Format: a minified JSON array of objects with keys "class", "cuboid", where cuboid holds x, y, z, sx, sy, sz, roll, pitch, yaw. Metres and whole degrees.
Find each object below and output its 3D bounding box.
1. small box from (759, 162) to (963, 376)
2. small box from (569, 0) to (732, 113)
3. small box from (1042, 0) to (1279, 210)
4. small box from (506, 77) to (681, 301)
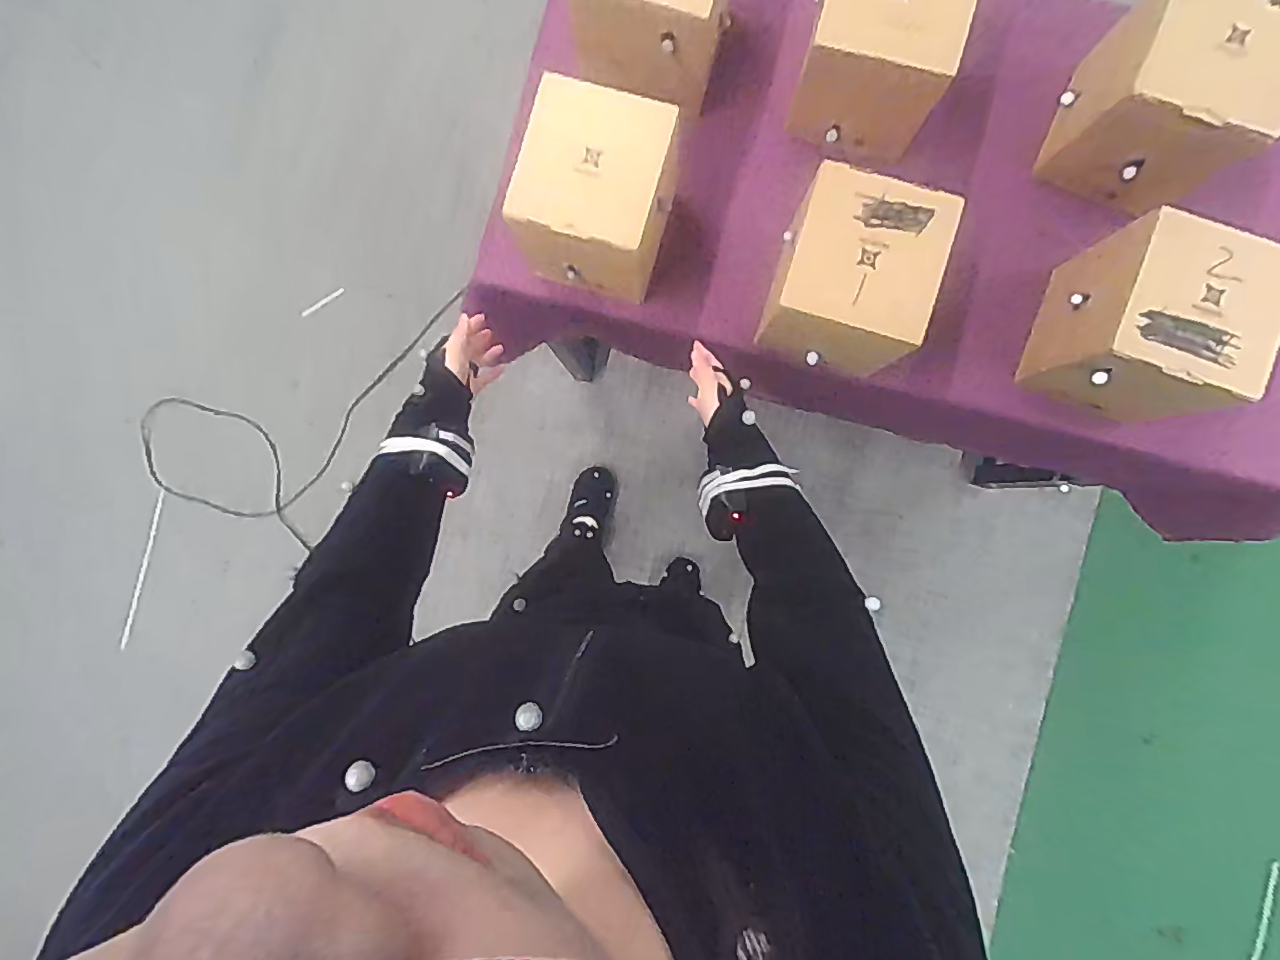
[{"class":"small box","cuboid":[0.260,-0.250,0.681,0.168,0.176,0.179,17,89,4]},{"class":"small box","cuboid":[0.023,-0.623,0.703,0.179,0.176,0.168,16,89,3]},{"class":"small box","cuboid":[0.649,-0.473,0.667,0.168,0.176,0.179,22,91,3]},{"class":"small box","cuboid":[-0.052,-0.361,0.701,0.168,0.176,0.179,16,90,3]}]
